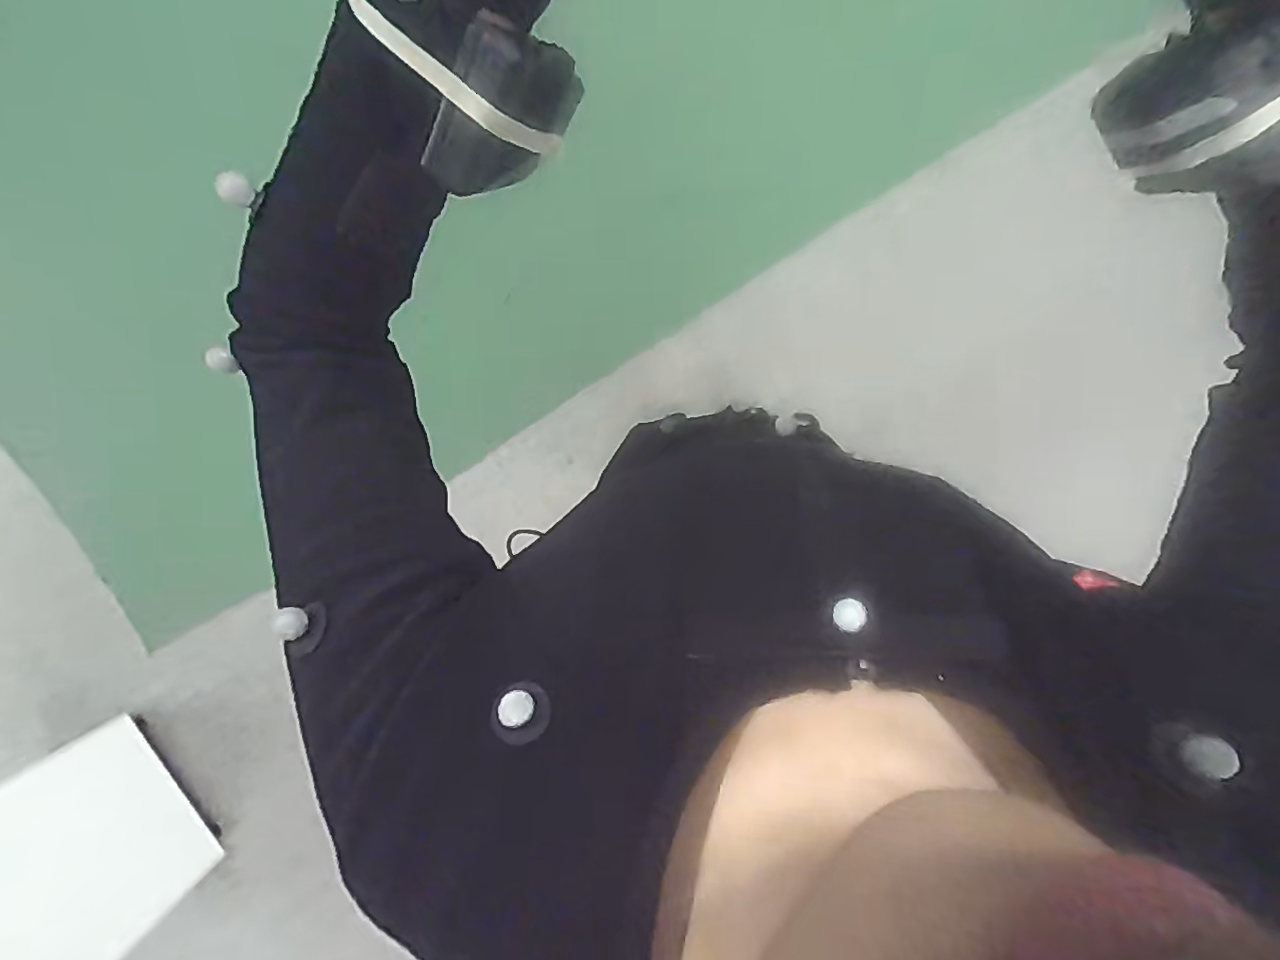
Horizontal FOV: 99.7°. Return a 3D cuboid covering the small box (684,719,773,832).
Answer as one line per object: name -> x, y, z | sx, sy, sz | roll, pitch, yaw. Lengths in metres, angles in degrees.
small box -> 0.233, 0.793, 1.466 | 0.179, 0.176, 0.168 | -32, 94, 5
